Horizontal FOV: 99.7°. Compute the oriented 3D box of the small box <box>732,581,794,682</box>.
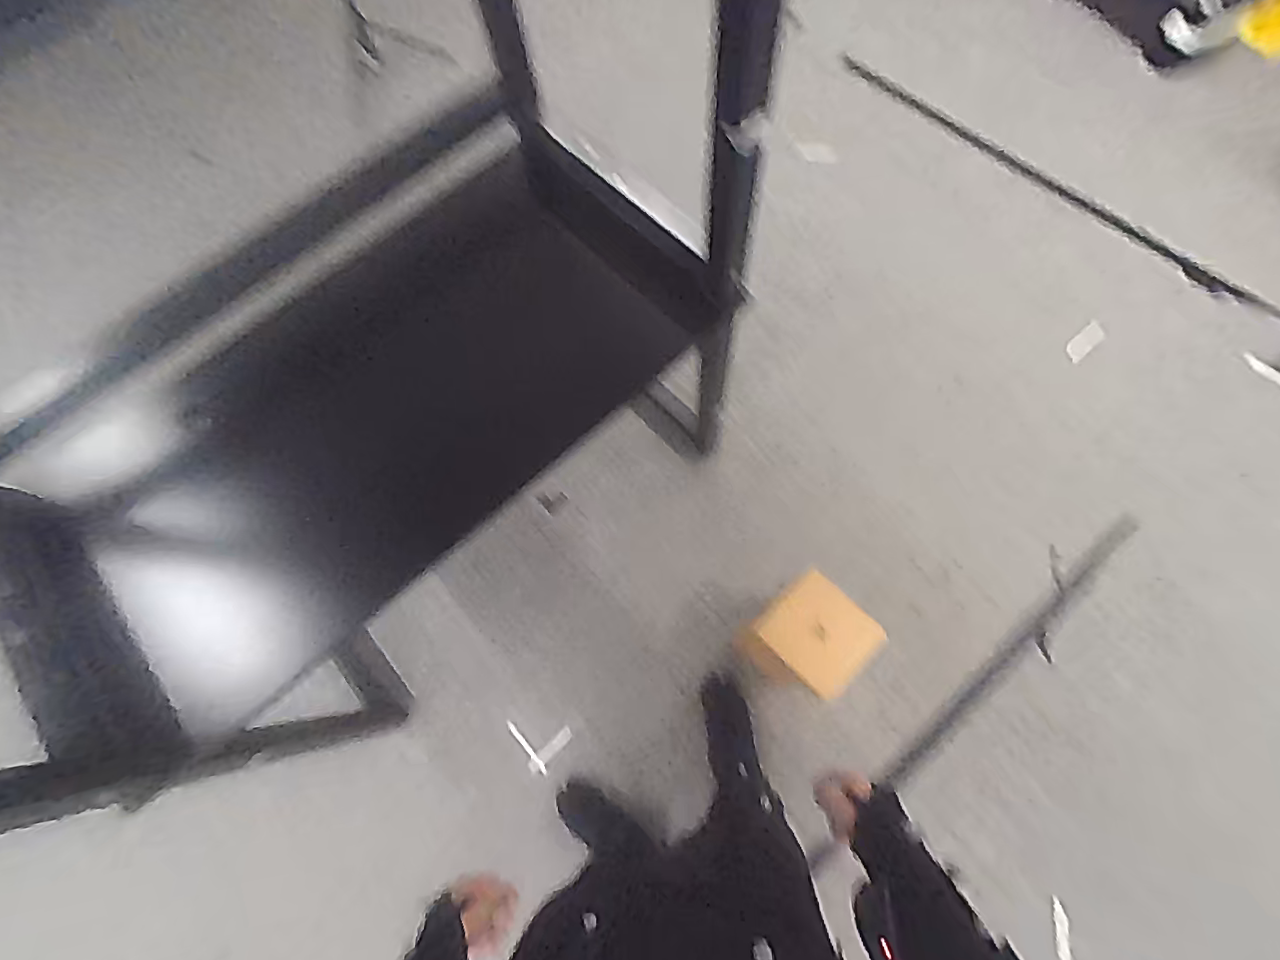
[{"bbox_3d":[0.348,0.380,1.361,0.179,0.176,0.168,-44,74,-9],"label":"small box"}]

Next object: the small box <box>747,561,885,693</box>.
[{"bbox_3d":[0.330,0.283,1.049,0.179,0.176,0.168,42,80,15],"label":"small box"}]
